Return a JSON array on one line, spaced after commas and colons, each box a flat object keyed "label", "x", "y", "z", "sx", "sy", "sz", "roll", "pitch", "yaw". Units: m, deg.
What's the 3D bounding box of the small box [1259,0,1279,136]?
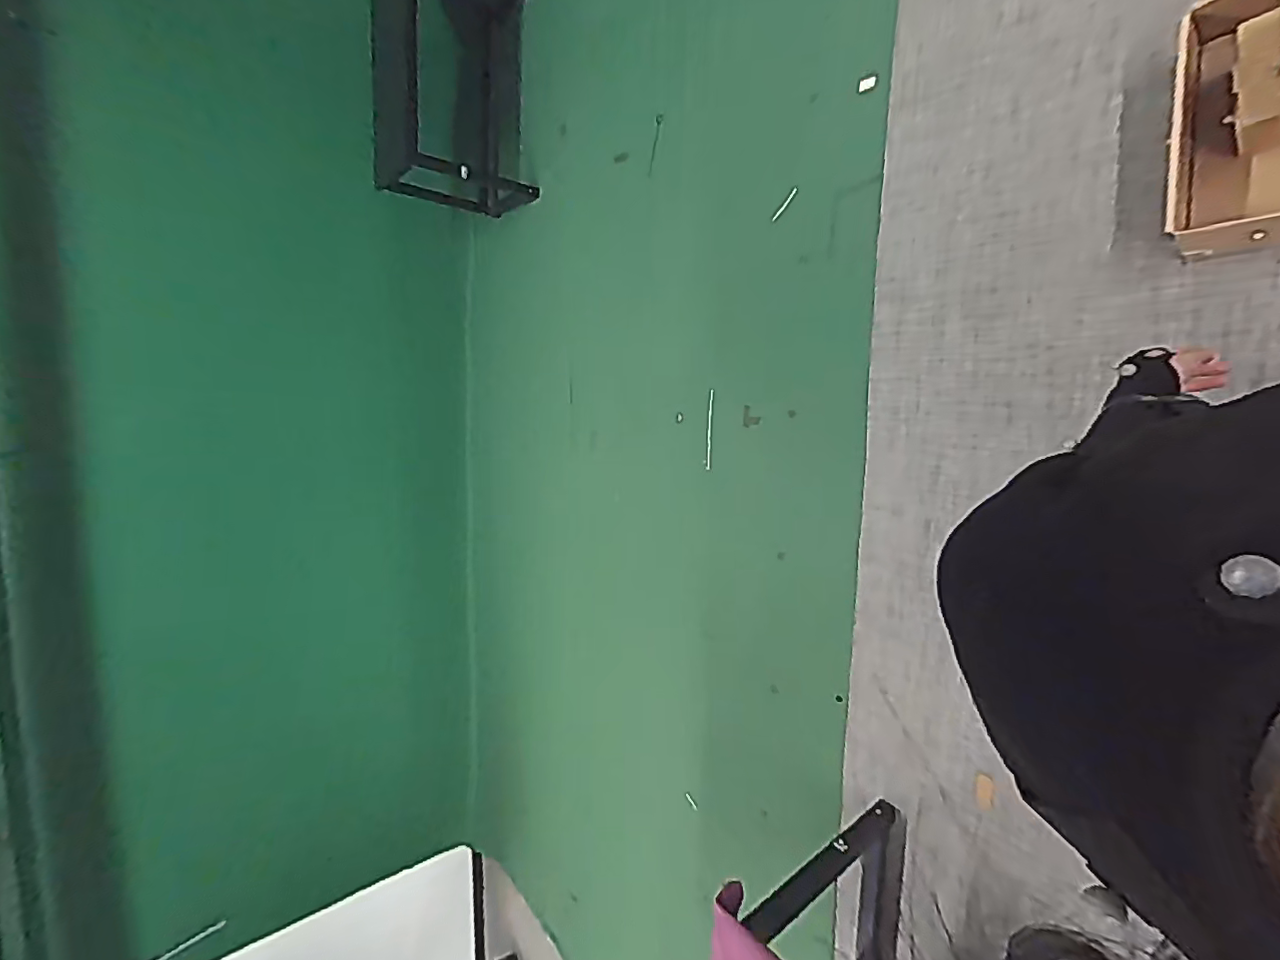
[{"label": "small box", "x": 1.109, "y": -0.678, "z": 0.845, "sx": 0.179, "sy": 0.176, "sz": 0.168, "roll": 1, "pitch": 97, "yaw": 51}]
